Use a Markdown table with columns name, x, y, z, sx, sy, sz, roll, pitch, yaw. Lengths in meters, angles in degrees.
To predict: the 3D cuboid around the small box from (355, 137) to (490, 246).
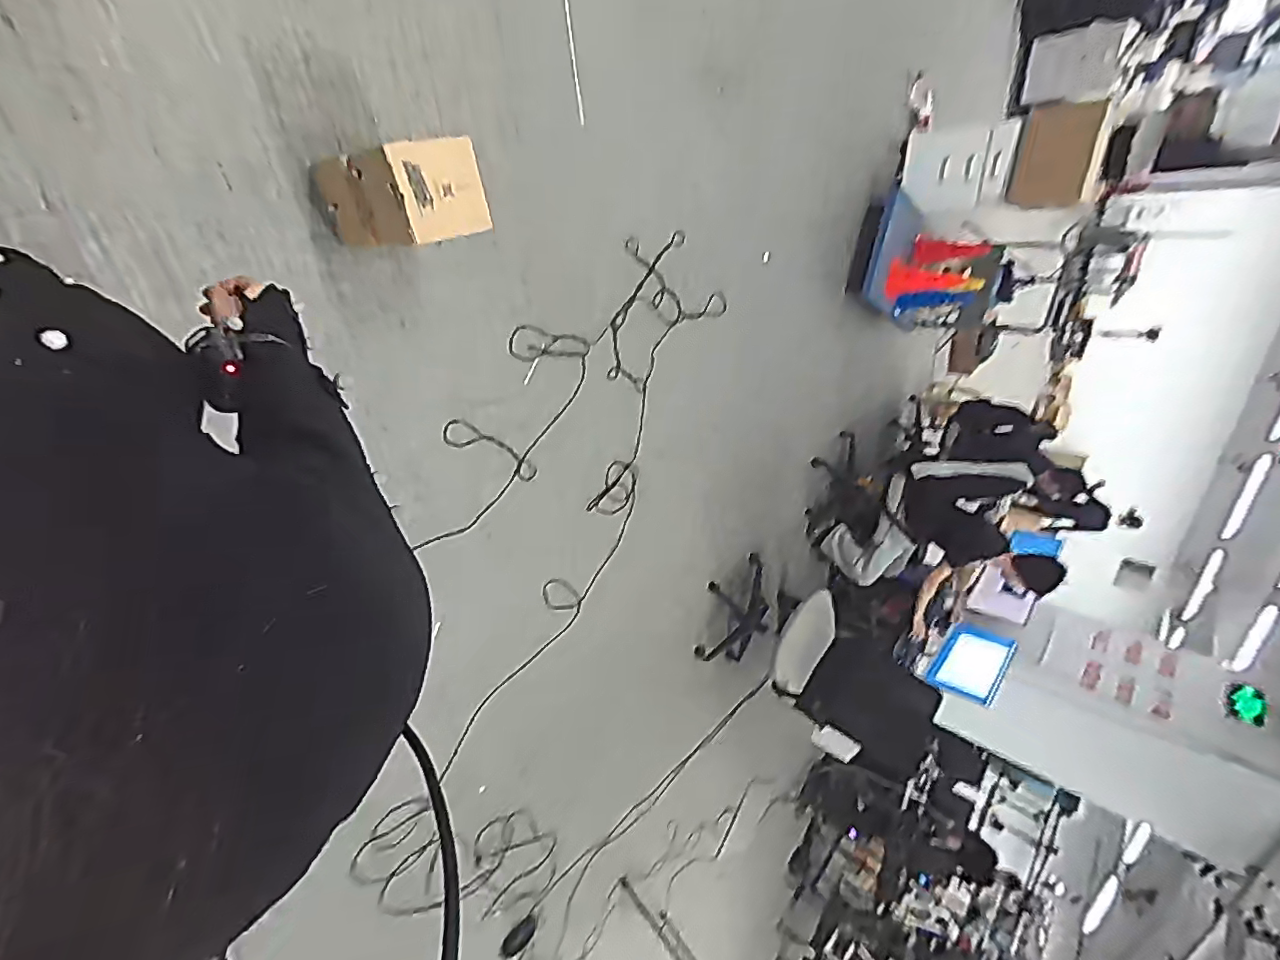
| name | x | y | z | sx | sy | sz | roll | pitch | yaw |
| --- | --- | --- | --- | --- | --- | --- | --- | --- | --- |
| small box | -0.431 | -0.564 | 1.064 | 0.179 | 0.176 | 0.168 | -35 | 129 | -37 |

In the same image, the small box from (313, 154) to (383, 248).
| name | x | y | z | sx | sy | sz | roll | pitch | yaw |
| --- | --- | --- | --- | --- | --- | --- | --- | --- | --- |
| small box | -0.559 | -0.603 | 1.161 | 0.179 | 0.176 | 0.168 | -34 | 128 | -35 |
